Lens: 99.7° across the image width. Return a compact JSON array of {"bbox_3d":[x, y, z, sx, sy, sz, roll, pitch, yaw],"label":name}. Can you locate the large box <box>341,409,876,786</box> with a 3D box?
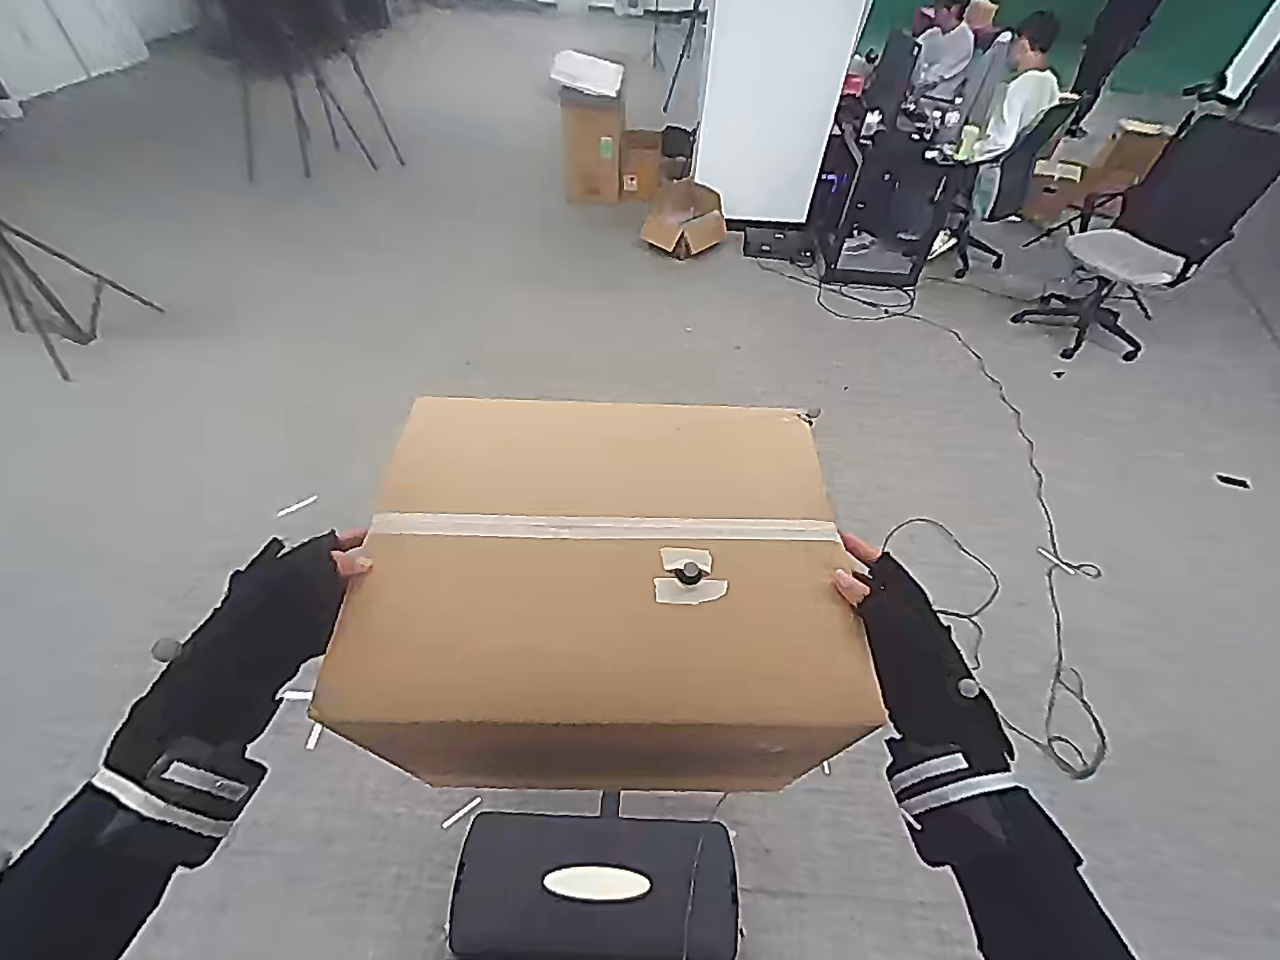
[{"bbox_3d":[-0.029,0.140,0.602,0.408,0.320,0.320,2,53,-2],"label":"large box"}]
